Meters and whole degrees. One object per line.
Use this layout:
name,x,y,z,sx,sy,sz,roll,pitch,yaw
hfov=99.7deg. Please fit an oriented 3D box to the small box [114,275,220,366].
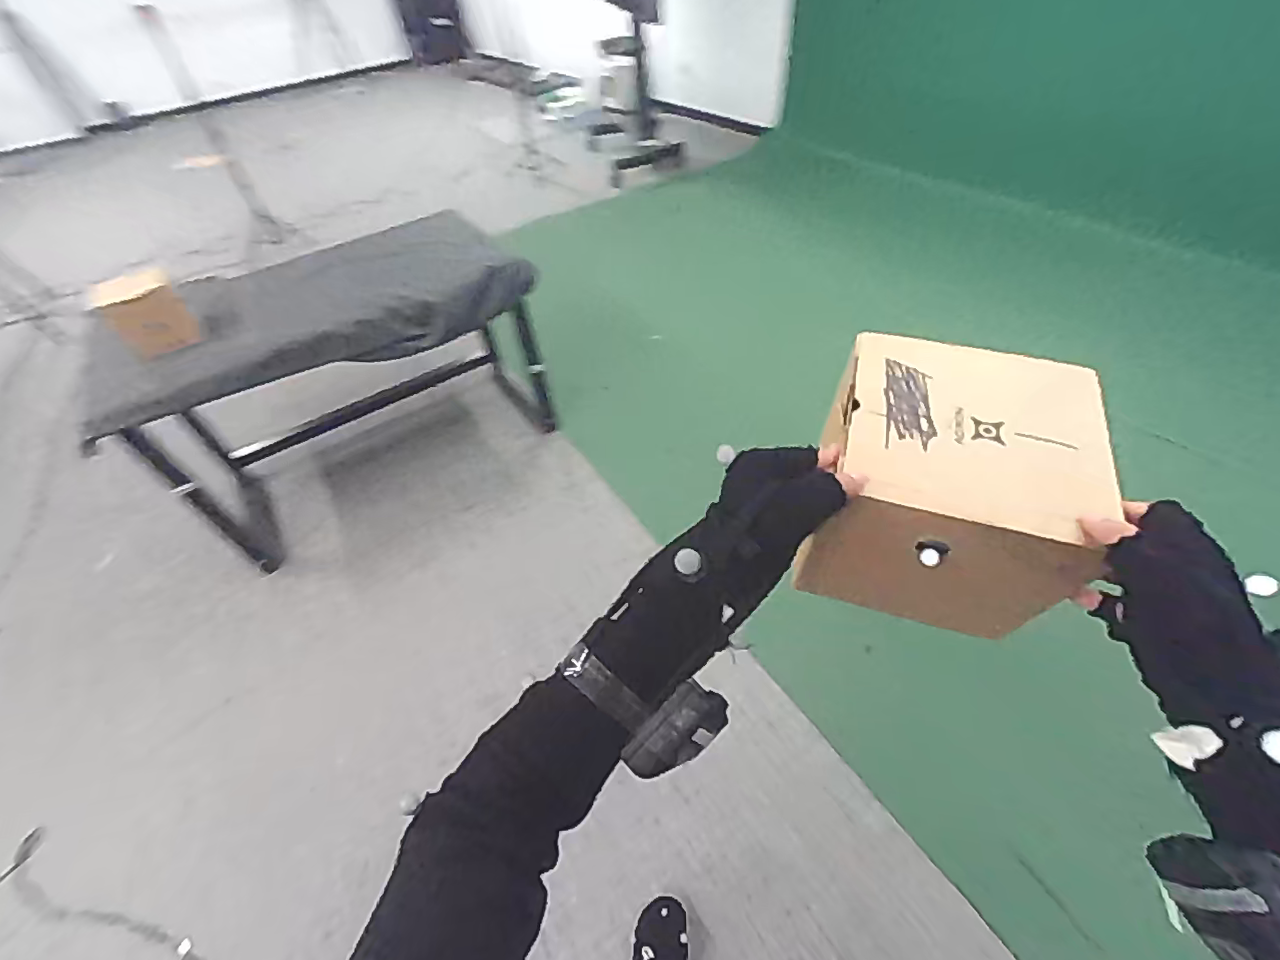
small box,-1.336,-0.448,1.537,0.168,0.176,0.179,-30,51,-20

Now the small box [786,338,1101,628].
small box,0.232,0.008,0.461,0.179,0.176,0.168,13,57,11
